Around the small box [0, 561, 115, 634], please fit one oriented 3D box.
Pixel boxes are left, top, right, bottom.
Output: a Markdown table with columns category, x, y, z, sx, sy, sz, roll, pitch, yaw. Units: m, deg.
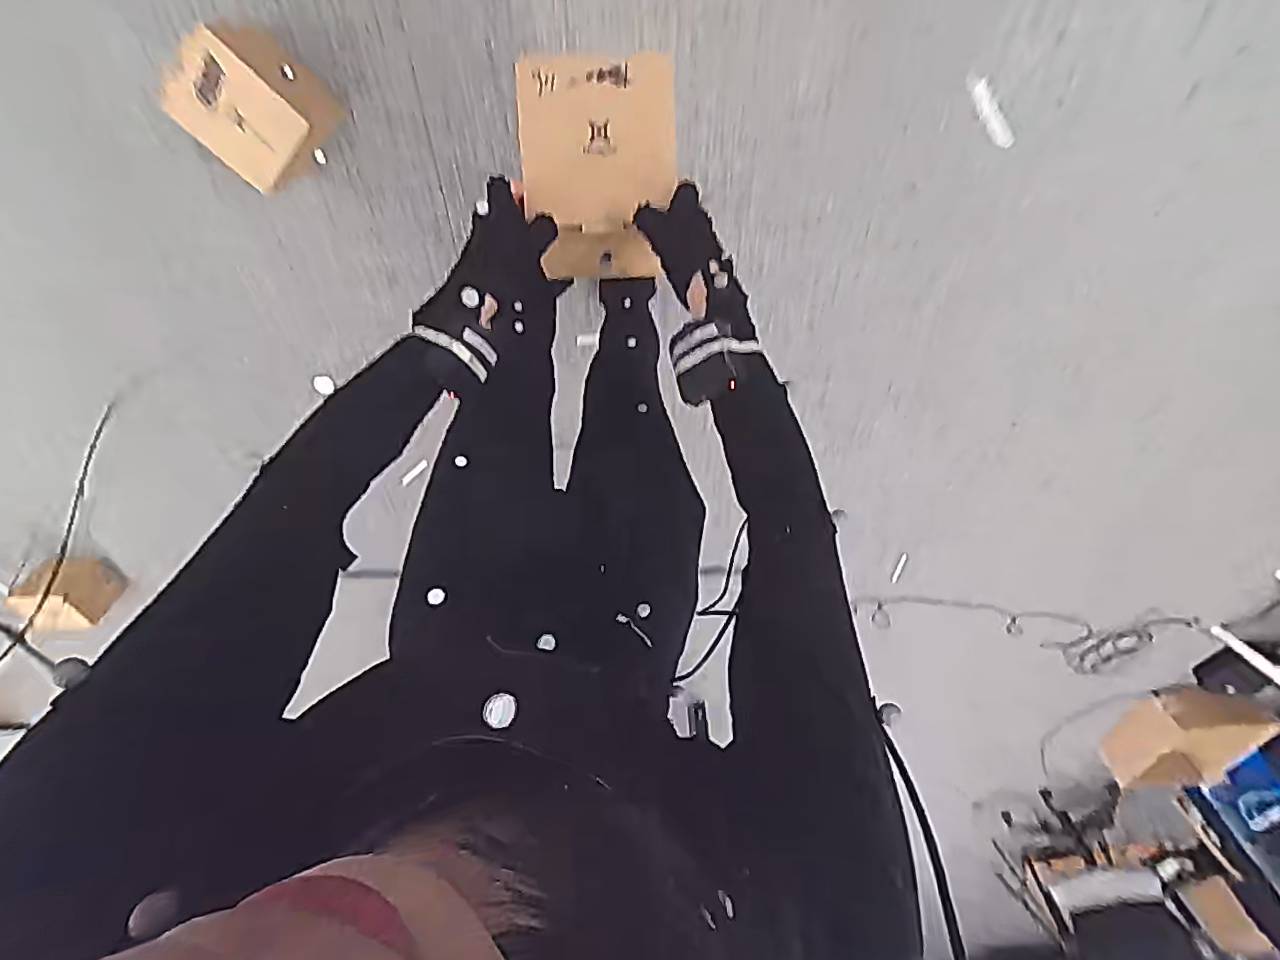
| category | x | y | z | sx | sy | sz | roll | pitch | yaw |
| --- | --- | --- | --- | --- | --- | --- | --- | --- | --- |
| small box | -1.885 | 0.378 | 1.750 | 0.179 | 0.176 | 0.168 | -2 | 130 | -1 |

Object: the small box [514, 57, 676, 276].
| category | x | y | z | sx | sy | sz | roll | pitch | yaw |
| --- | --- | --- | --- | --- | --- | --- | --- | --- | --- |
| small box | -0.047 | -0.349 | 0.638 | 0.168 | 0.176 | 0.179 | -3 | 94 | -2 |

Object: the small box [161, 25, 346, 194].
| category | x | y | z | sx | sy | sz | roll | pitch | yaw |
| --- | --- | --- | --- | --- | --- | --- | --- | --- | --- |
| small box | -0.666 | -0.647 | 0.951 | 0.168 | 0.176 | 0.179 | -33 | 123 | 24 |
